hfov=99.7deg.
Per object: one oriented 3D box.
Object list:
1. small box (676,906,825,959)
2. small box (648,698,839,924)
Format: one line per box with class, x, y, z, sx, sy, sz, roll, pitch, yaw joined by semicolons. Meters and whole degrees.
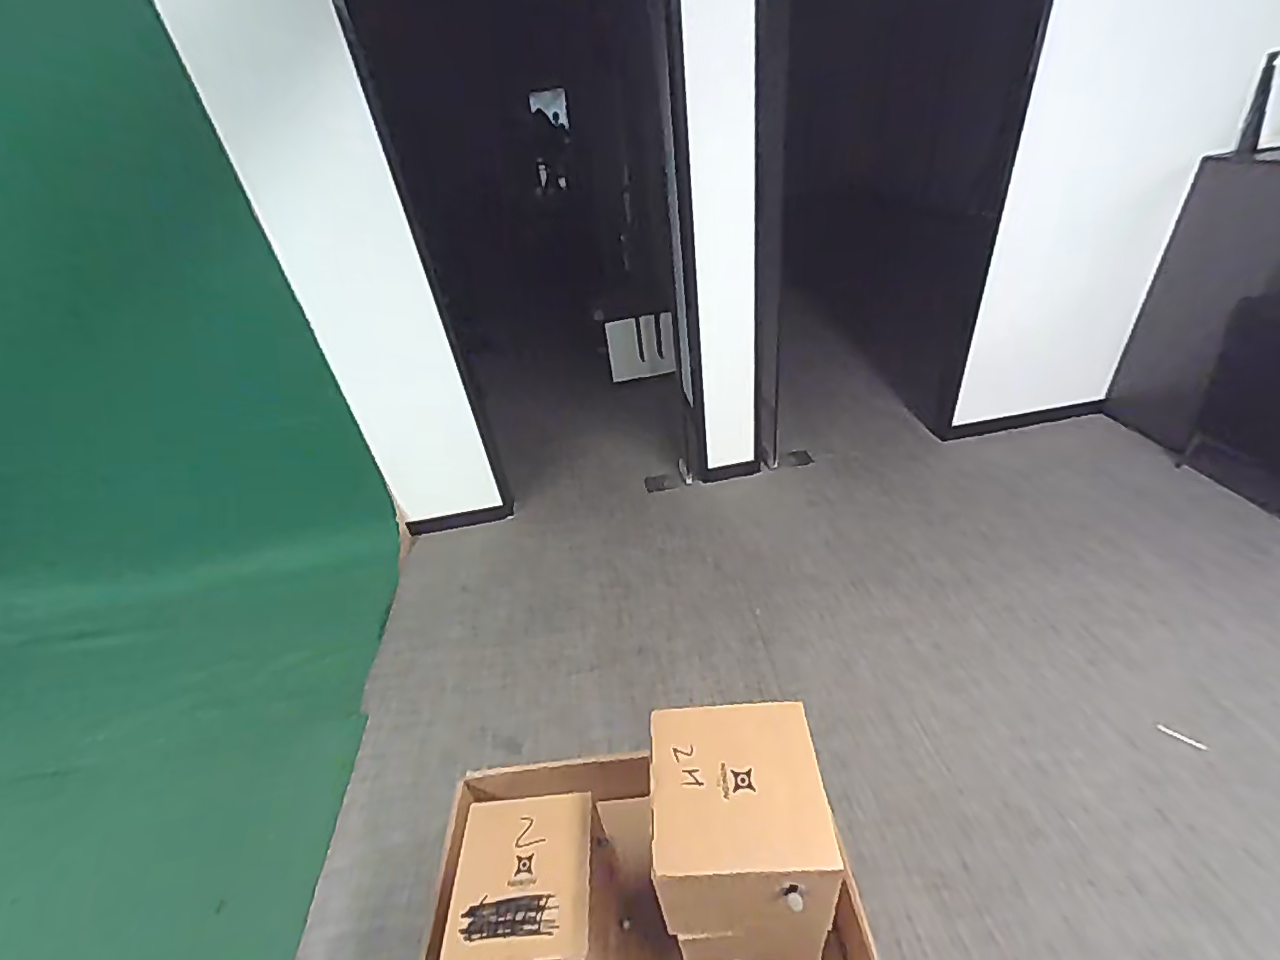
small box;0.130;0.496;0.702;0.168;0.176;0.179;-7;37;4
small box;0.107;0.367;0.602;0.179;0.176;0.168;-7;35;6
